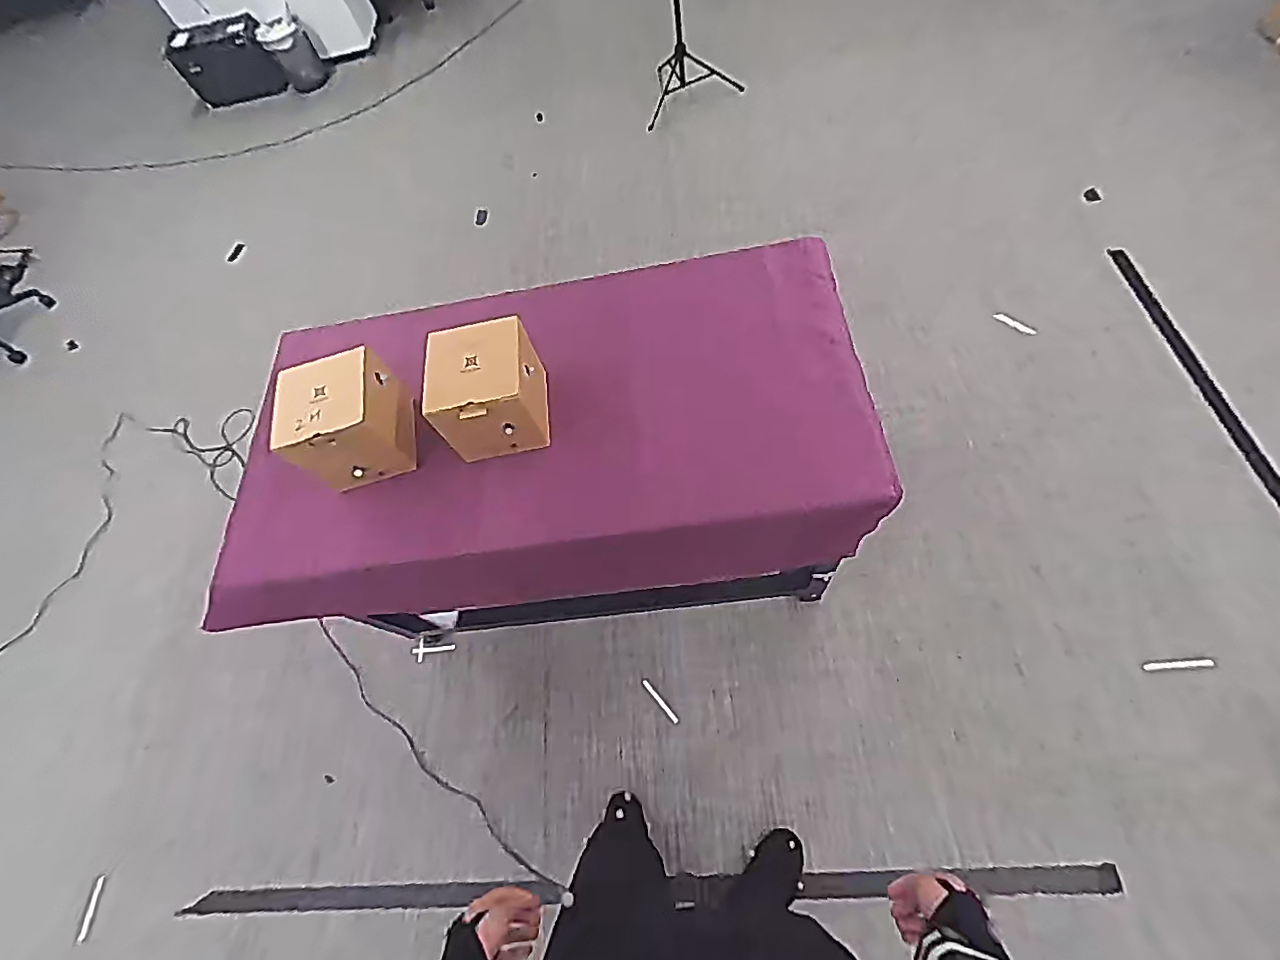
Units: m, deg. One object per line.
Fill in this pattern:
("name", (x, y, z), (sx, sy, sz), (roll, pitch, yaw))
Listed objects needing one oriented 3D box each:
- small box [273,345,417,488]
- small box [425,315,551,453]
("small box", (-0.528, -0.111, 0.991), (0.168, 0.176, 0.179), (-16, 62, 2))
("small box", (-0.263, -0.161, 0.971), (0.168, 0.176, 0.179), (-9, 62, 5))
